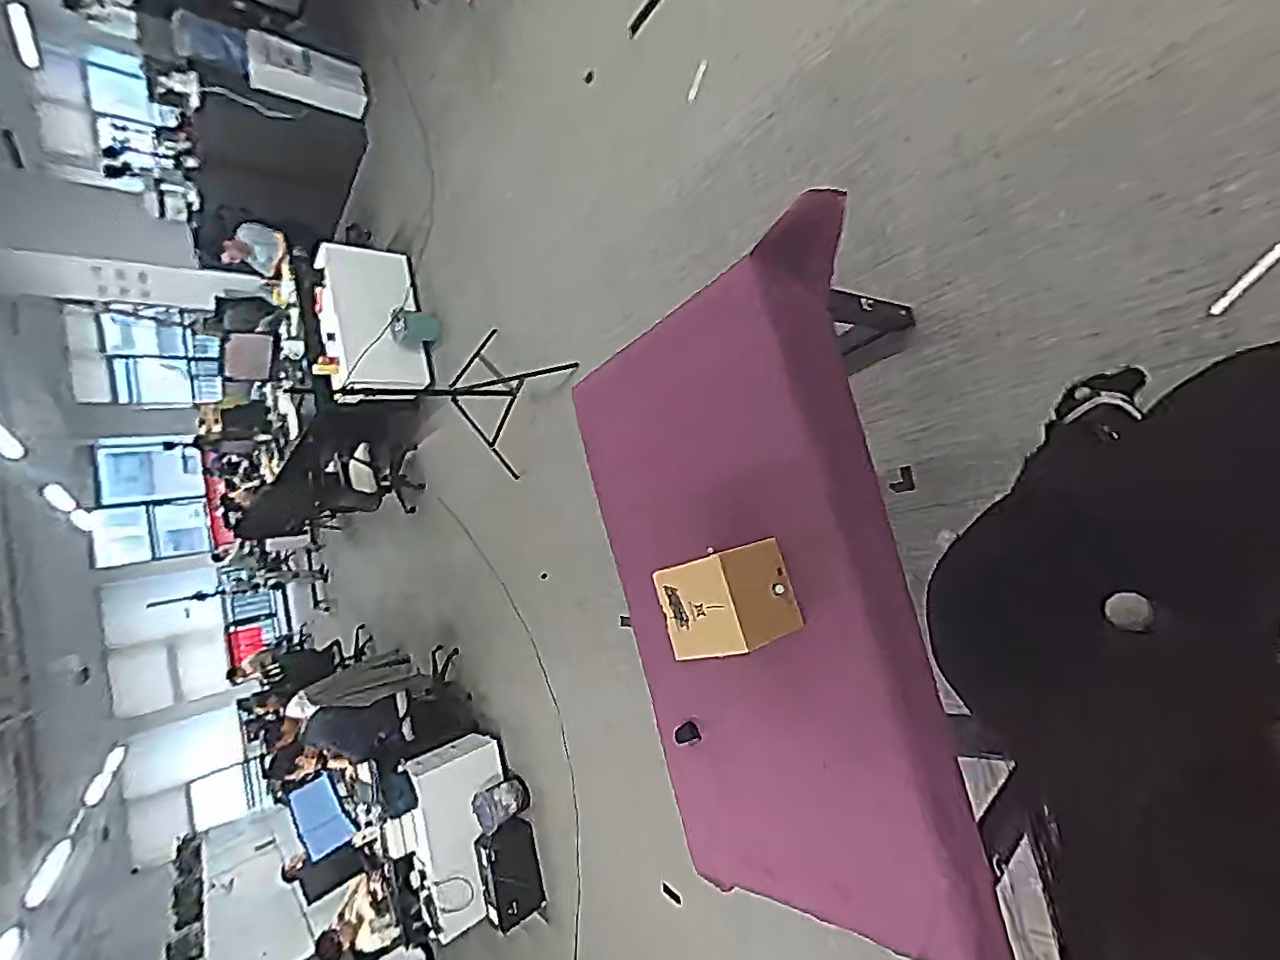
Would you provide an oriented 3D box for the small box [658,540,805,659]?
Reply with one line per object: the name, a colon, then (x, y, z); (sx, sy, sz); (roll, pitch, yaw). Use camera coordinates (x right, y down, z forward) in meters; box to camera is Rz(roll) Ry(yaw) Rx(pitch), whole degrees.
small box: (0.165, 0.217, 0.988); (0.179, 0.176, 0.168); (-27, 76, 48)
